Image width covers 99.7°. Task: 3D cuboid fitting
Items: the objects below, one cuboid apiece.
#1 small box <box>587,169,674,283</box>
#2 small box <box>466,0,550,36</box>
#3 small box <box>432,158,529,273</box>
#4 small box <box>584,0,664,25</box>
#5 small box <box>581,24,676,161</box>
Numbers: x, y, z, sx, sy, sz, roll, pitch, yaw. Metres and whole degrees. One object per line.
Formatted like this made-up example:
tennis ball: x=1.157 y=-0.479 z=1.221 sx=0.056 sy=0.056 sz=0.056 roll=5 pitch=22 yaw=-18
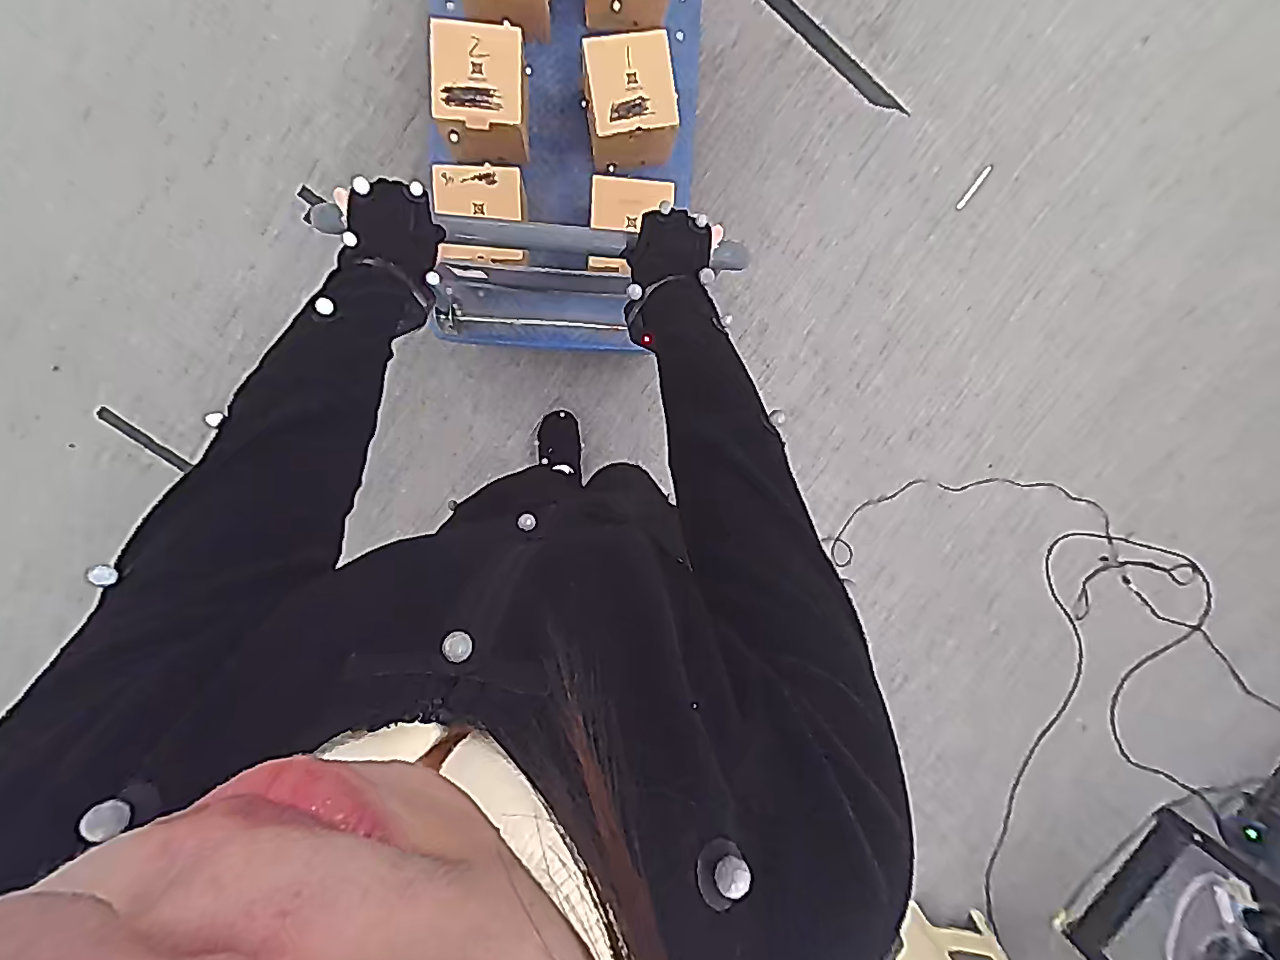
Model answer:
small box: x=-0.027 y=-0.531 z=1.157 sx=0.168 sy=0.176 sz=0.179 roll=2 pitch=97 yaw=-7
small box: x=-0.262 y=-1.027 z=1.056 sx=0.168 sy=0.176 sz=0.179 roll=4 pitch=99 yaw=-7
small box: x=-0.322 y=-0.536 z=1.121 sx=0.168 sy=0.176 sz=0.179 roll=-2 pitch=99 yaw=-7
small box: x=-0.030 y=-1.057 z=1.080 sx=0.168 sy=0.176 sz=0.179 roll=-1 pitch=98 yaw=-6
small box: x=-0.027 y=-0.787 z=1.119 sx=0.168 sy=0.176 sz=0.179 roll=-10 pitch=98 yaw=-5
